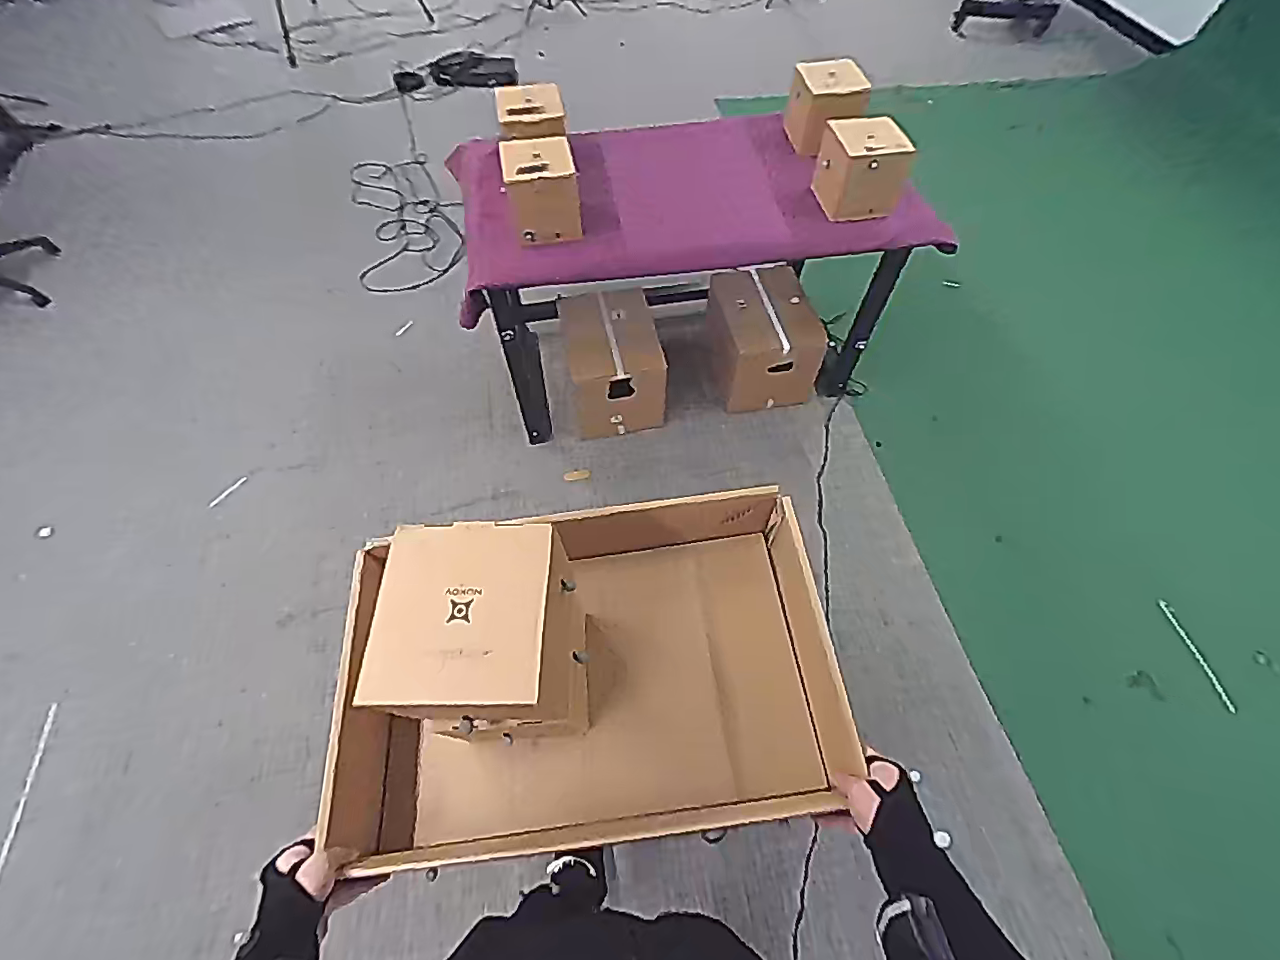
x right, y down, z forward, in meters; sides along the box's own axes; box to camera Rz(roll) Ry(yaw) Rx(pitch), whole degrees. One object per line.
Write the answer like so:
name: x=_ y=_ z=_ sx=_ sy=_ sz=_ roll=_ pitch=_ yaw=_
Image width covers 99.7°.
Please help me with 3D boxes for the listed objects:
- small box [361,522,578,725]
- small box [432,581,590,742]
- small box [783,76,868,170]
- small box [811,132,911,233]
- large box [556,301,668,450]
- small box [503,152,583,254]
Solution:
small box: x=-0.163 y=0.160 z=0.586 sx=0.168 sy=0.176 sz=0.179 roll=0 pitch=61 yaw=3
small box: x=-0.158 y=0.247 z=0.725 sx=0.168 sy=0.176 sz=0.179 roll=-3 pitch=61 yaw=0
small box: x=0.528 y=-1.034 z=1.571 sx=0.168 sy=0.176 sz=0.179 roll=-8 pitch=59 yaw=-3
small box: x=0.562 y=-0.770 z=1.404 sx=0.168 sy=0.176 sz=0.179 roll=-8 pitch=55 yaw=-3
large box: x=-0.101 y=-0.372 z=1.937 sx=0.320 sy=0.320 sz=0.408 roll=-10 pitch=57 yaw=-7
small box: x=-0.240 y=-0.683 z=1.349 sx=0.168 sy=0.176 sz=0.179 roll=-10 pitch=57 yaw=-7
